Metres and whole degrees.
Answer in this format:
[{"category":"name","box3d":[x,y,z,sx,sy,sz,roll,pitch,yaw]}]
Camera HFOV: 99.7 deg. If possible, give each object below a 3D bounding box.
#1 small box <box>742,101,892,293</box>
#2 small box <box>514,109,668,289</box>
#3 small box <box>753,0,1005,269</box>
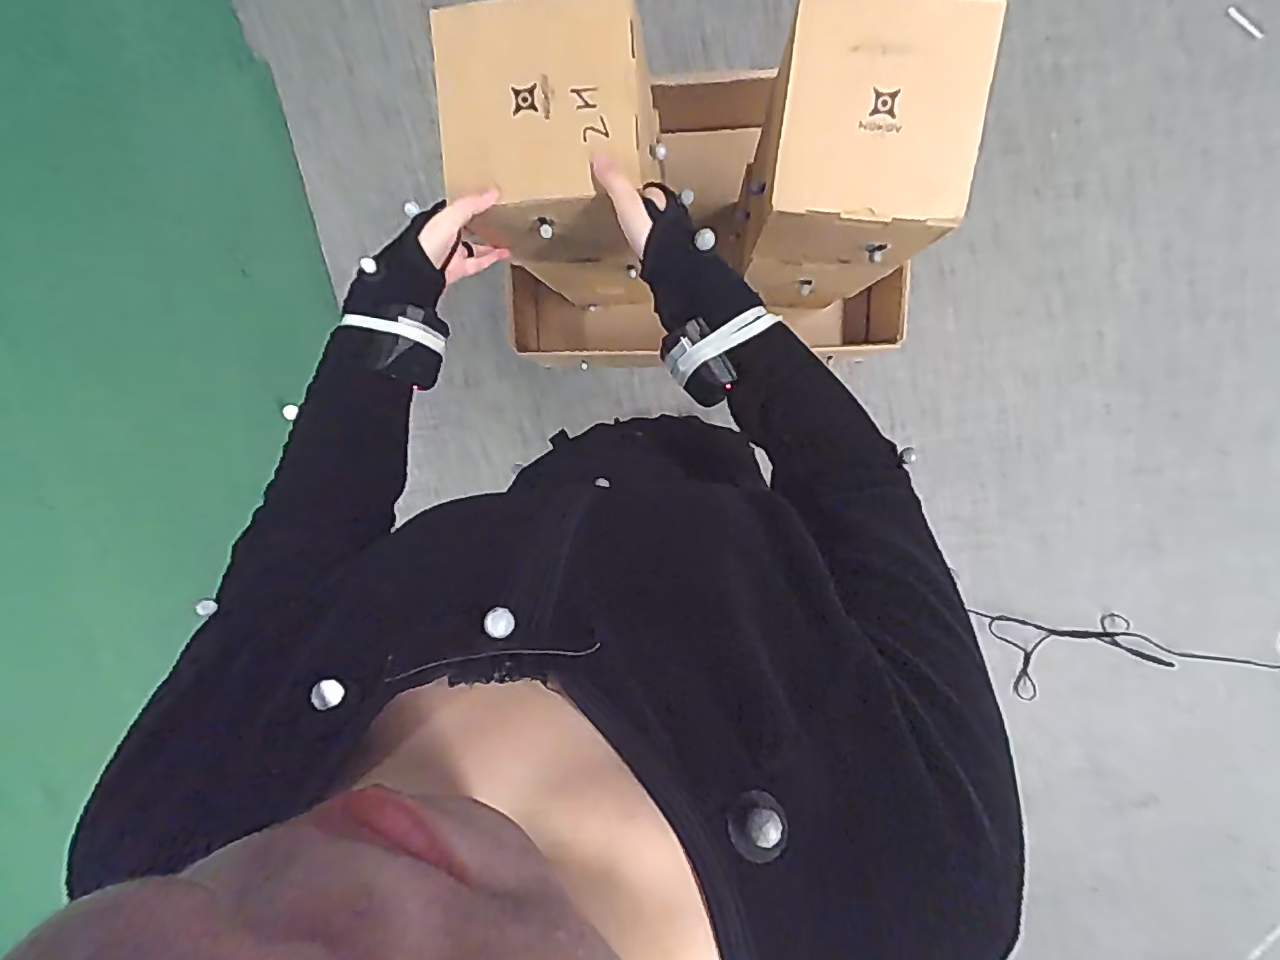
[{"category":"small box","box3d":[0.227,-0.345,0.691,0.168,0.176,0.179,7,100,4]},{"category":"small box","box3d":[-0.054,-0.357,0.721,0.179,0.176,0.168,-1,99,5]},{"category":"small box","box3d":[0.210,-0.319,0.531,0.168,0.176,0.179,8,99,4]}]
